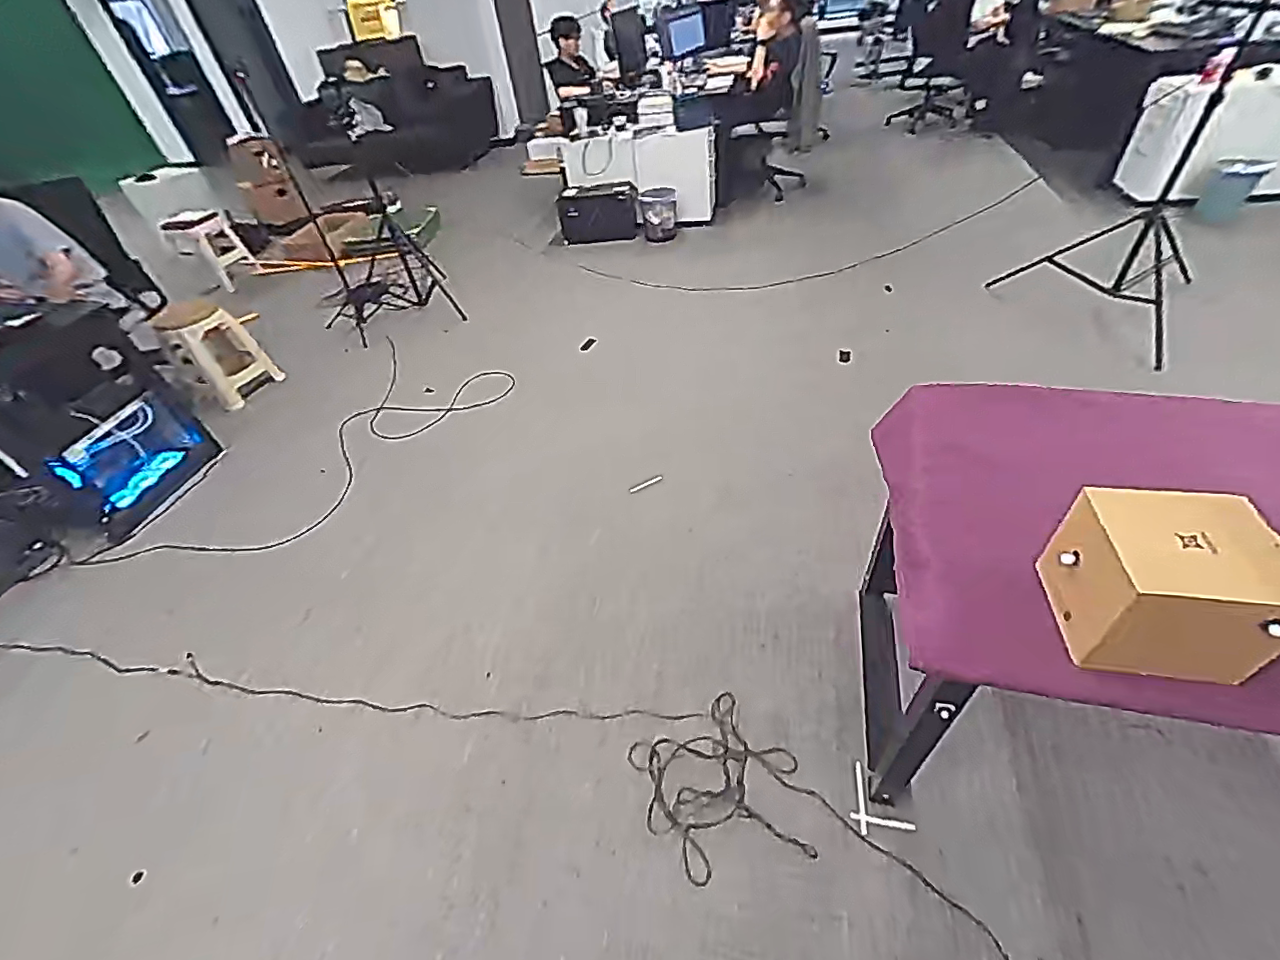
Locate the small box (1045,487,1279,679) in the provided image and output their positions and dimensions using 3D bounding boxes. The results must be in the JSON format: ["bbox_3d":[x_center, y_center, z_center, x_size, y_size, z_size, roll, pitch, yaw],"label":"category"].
[{"bbox_3d":[0.646,0.128,0.675,0.179,0.176,0.168,4,45,12],"label":"small box"}]
